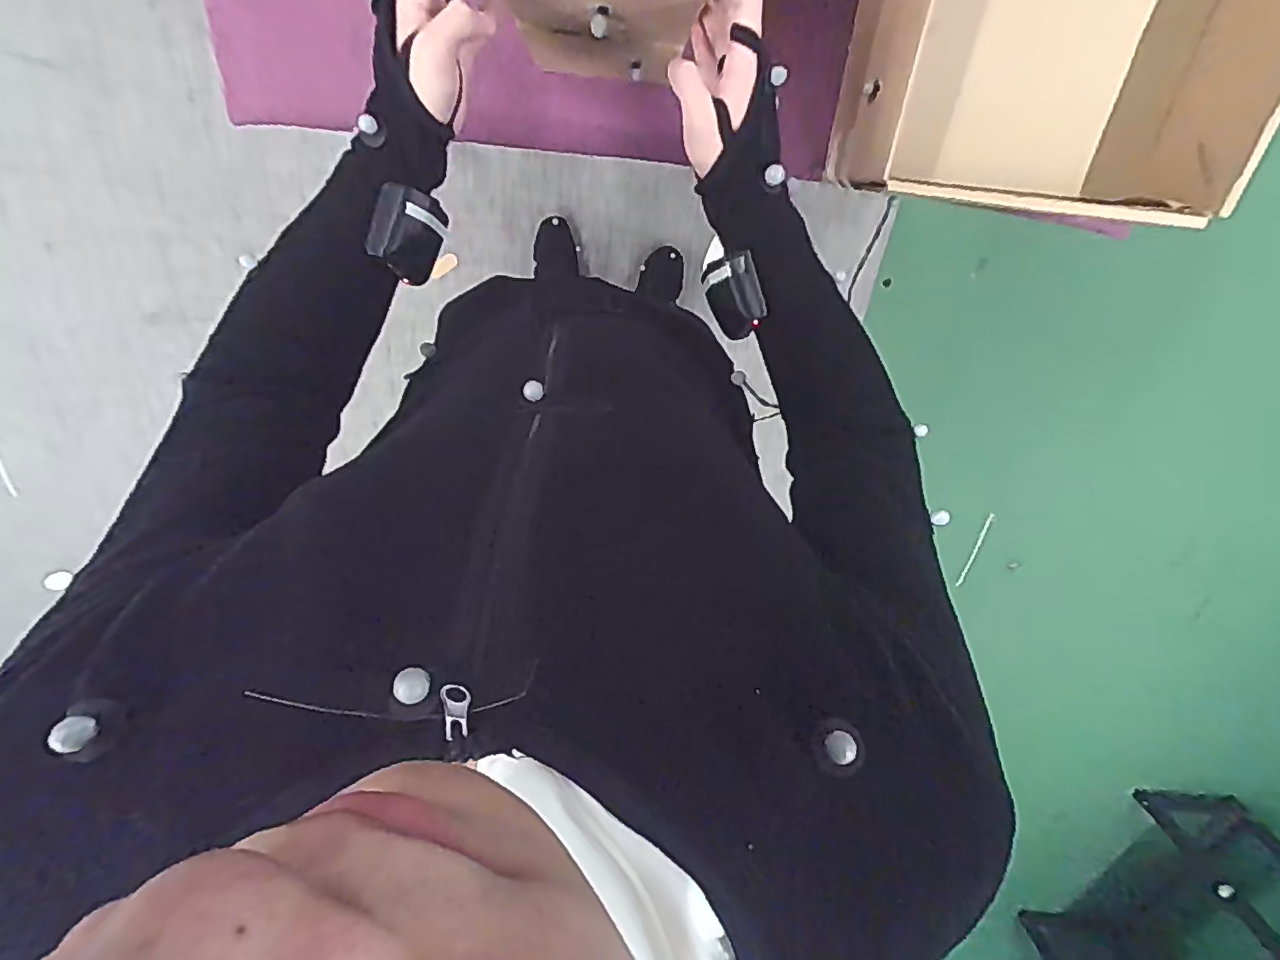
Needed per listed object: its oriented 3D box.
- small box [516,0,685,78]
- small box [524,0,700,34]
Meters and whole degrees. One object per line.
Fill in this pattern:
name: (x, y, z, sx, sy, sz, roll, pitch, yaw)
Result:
small box: (-0.030, -0.541, 0.555, 0.168, 0.176, 0.179, 4, 116, -5)
small box: (-0.021, -0.471, 0.408, 0.168, 0.176, 0.179, 4, 118, -5)
